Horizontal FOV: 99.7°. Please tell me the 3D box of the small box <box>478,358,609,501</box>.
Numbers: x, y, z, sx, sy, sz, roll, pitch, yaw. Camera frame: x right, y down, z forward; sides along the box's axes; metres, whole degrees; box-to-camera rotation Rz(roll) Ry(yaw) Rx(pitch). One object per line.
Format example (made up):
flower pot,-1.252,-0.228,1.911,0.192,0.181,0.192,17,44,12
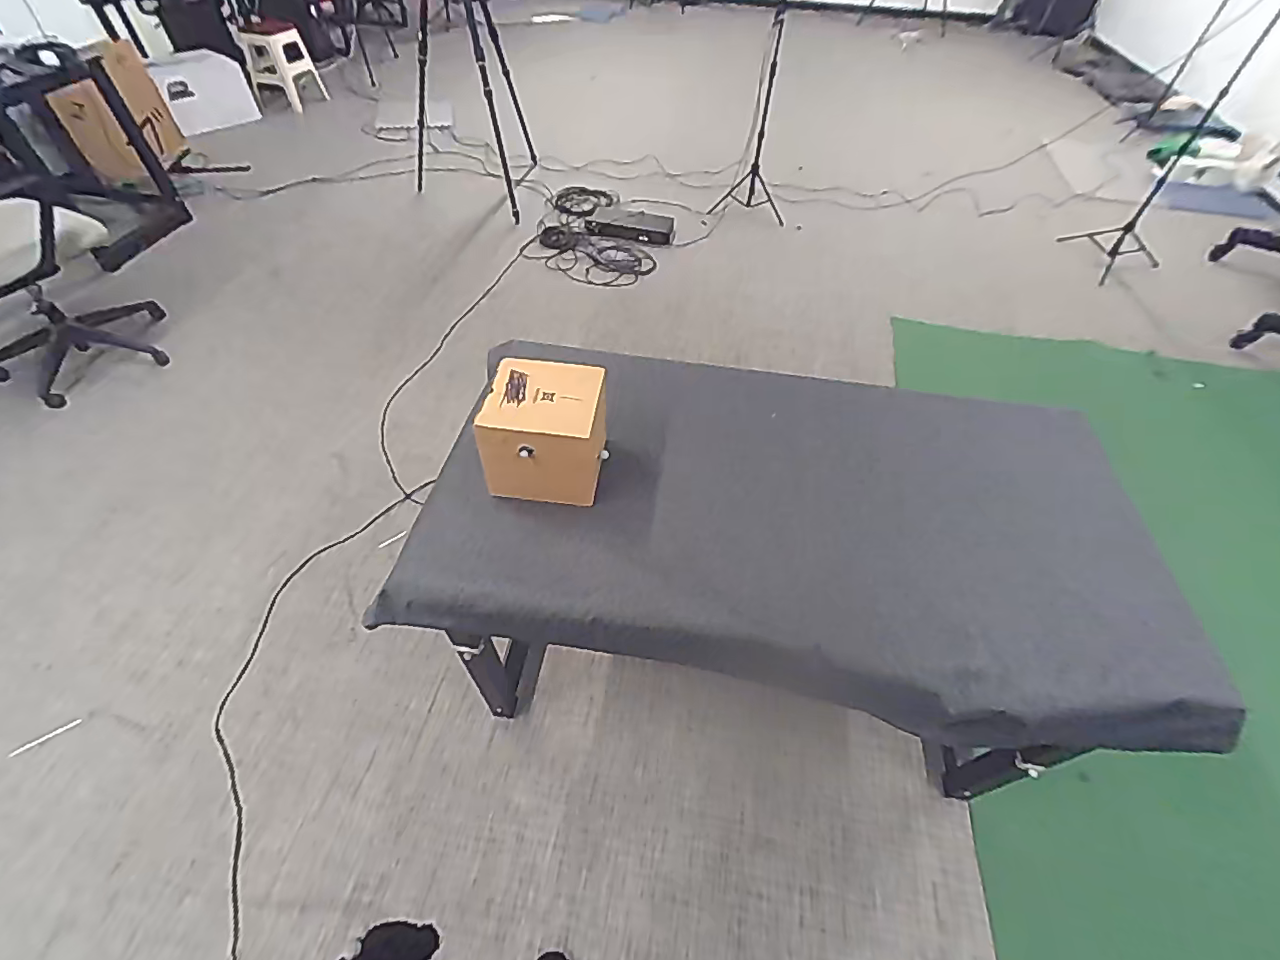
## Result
small box,-0.151,-0.082,0.911,0.179,0.176,0.168,7,51,2
